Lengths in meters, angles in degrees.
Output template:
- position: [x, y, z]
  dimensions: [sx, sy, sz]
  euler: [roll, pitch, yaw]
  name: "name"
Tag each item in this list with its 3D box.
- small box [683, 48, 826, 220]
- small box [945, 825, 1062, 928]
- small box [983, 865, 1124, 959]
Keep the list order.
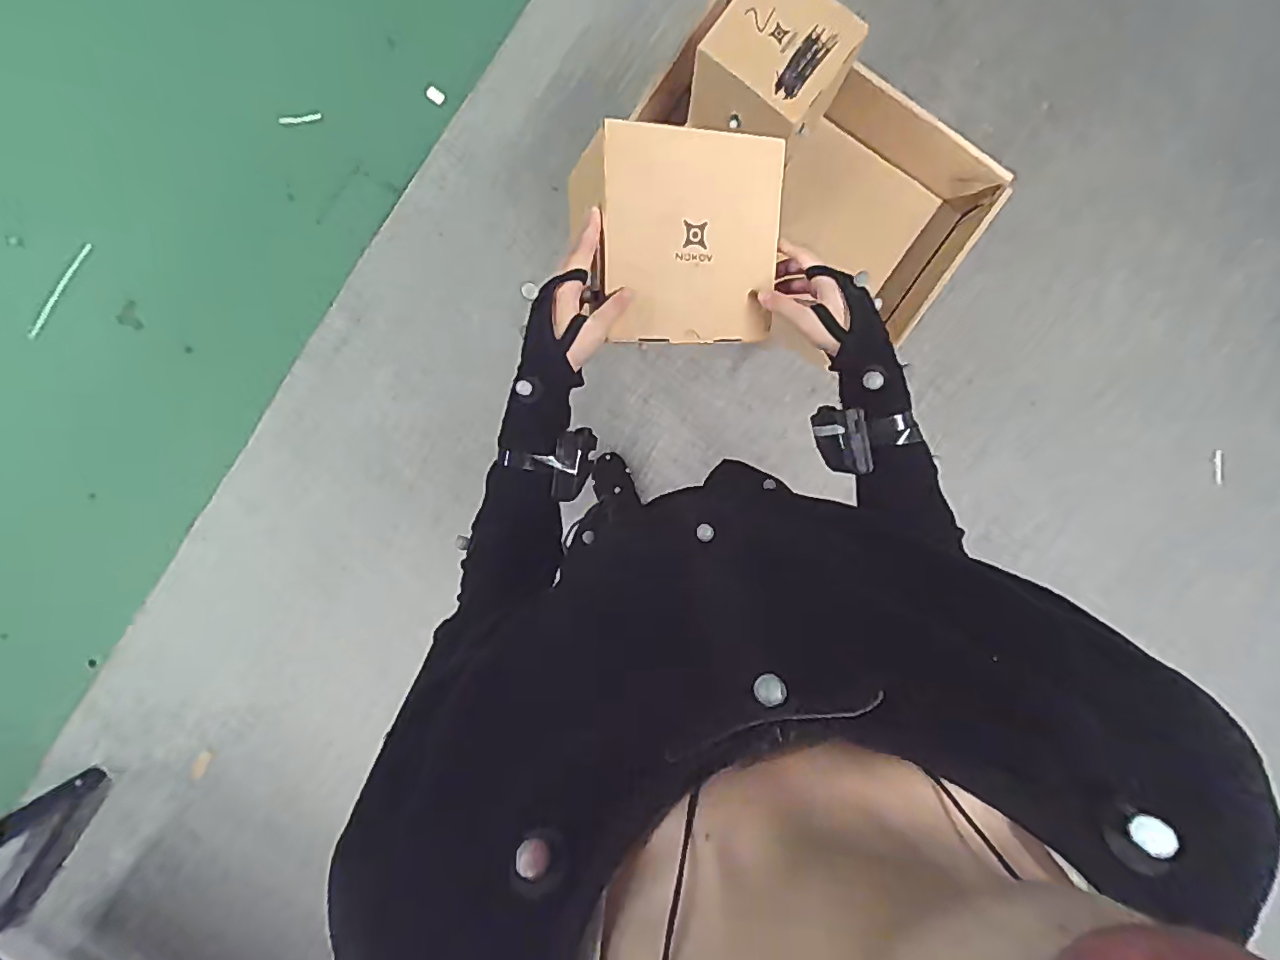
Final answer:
- position: [0.196, -0.604, 0.978]
  dimensions: [0.179, 0.176, 0.168]
  euler: [36, 92, -1]
  name: "small box"
- position: [0.962, 1.078, 1.446]
  dimensions: [0.168, 0.176, 0.179]
  euler: [33, 92, 0]
  name: "small box"
- position: [0.965, 1.075, 1.282]
  dimensions: [0.168, 0.176, 0.179]
  euler: [33, 92, 1]
  name: "small box"
